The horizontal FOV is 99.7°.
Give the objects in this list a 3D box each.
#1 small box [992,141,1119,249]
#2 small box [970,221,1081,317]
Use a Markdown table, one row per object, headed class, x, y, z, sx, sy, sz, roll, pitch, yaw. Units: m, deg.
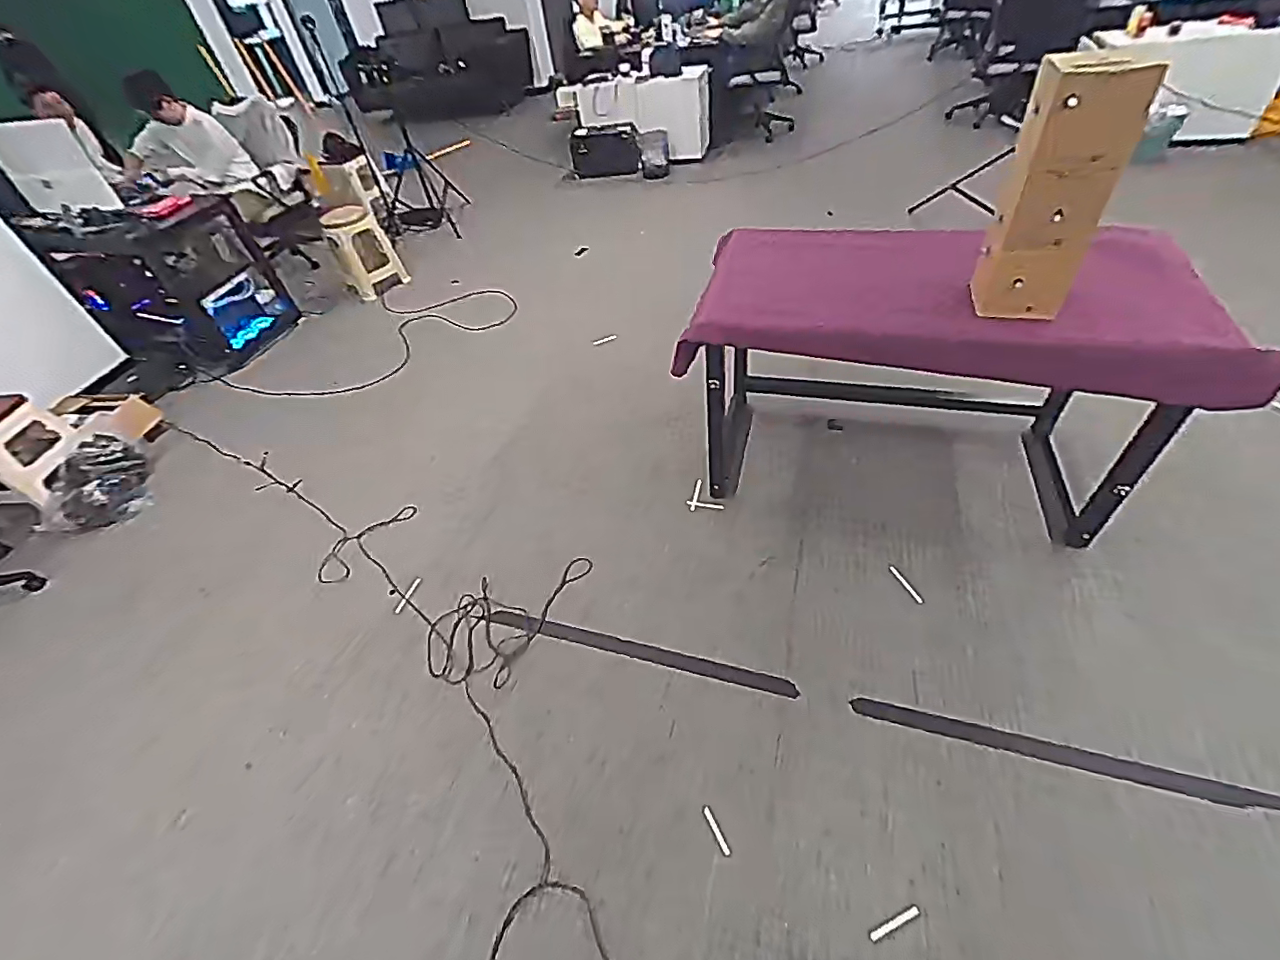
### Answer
| class | x | y | z | sx | sy | sz | roll | pitch | yaw |
| --- | --- | --- | --- | --- | --- | --- | --- | --- | --- |
| small box | 0.908 | -0.629 | 1.202 | 0.168 | 0.176 | 0.179 | 8 | 49 | 17 |
| small box | 0.926 | -0.514 | 1.317 | 0.168 | 0.176 | 0.179 | 8 | 48 | 17 |
